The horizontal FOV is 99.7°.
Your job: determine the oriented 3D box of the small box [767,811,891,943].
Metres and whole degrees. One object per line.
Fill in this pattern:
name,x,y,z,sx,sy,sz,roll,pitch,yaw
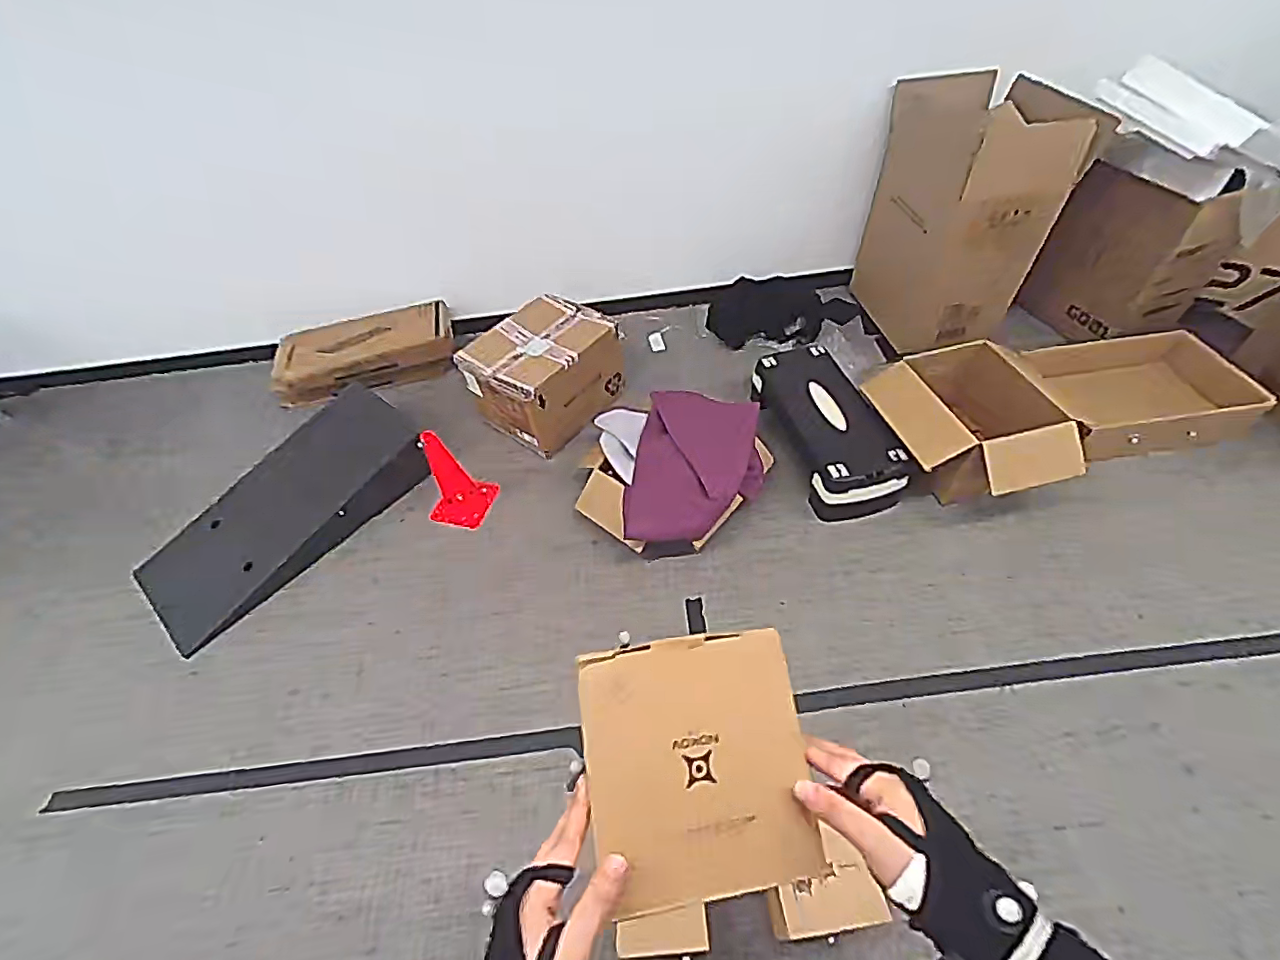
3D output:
small box,0.318,0.723,0.981,0.179,0.176,0.168,-8,50,-2

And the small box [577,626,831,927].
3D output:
small box,0.035,0.229,0.465,0.168,0.176,0.179,-6,74,-8
